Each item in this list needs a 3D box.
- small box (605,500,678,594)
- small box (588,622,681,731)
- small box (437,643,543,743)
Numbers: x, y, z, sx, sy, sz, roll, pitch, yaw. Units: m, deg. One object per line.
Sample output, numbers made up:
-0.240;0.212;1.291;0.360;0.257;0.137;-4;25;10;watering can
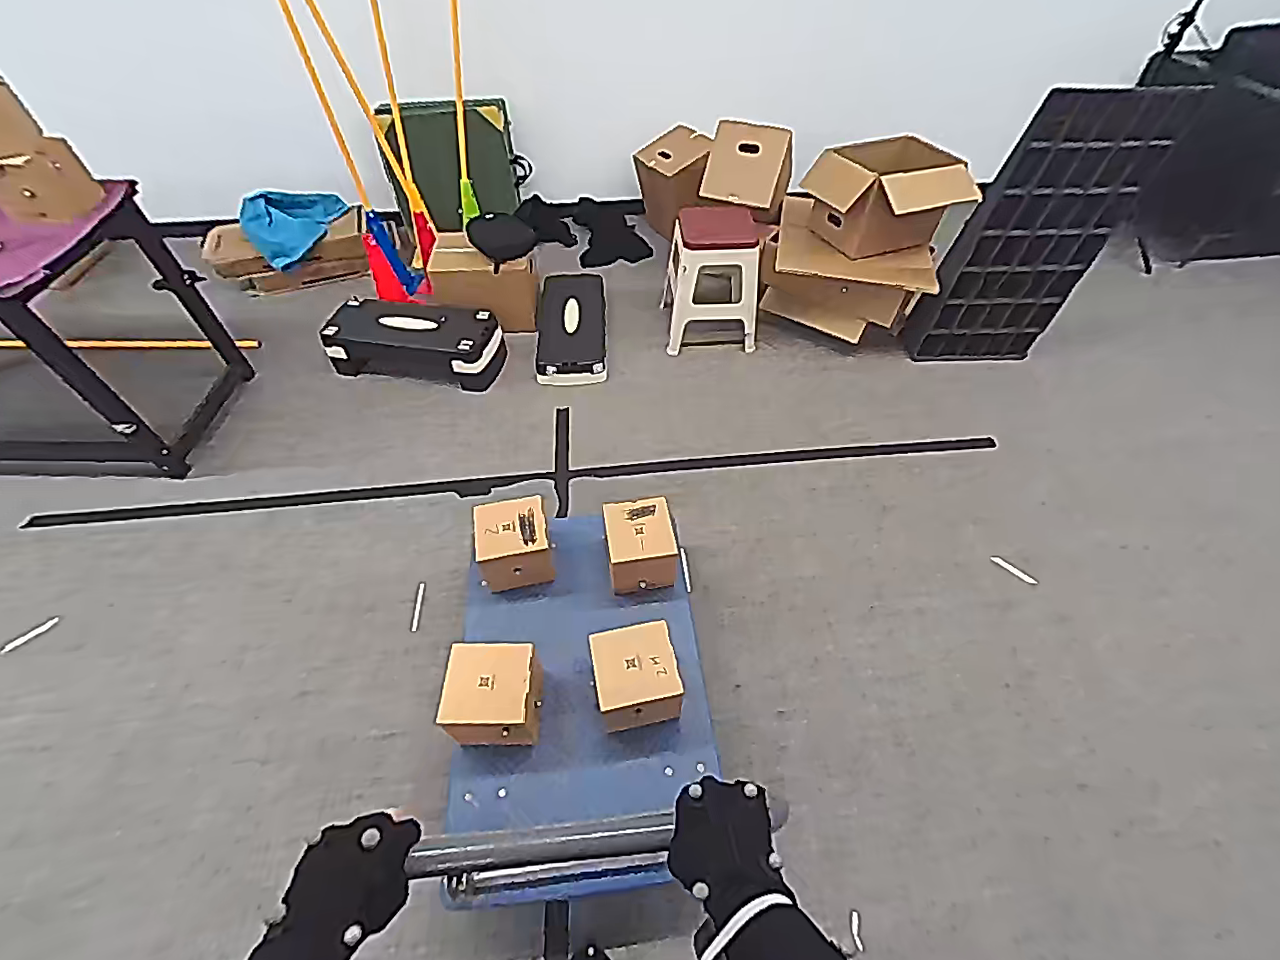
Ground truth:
-0.001;0.176;1.413;0.168;0.176;0.179;-7;53;-6;small box
-0.012;0.441;1.201;0.179;0.176;0.168;-9;52;-7;small box
-0.317;0.468;1.180;0.179;0.176;0.168;1;51;-1;small box
